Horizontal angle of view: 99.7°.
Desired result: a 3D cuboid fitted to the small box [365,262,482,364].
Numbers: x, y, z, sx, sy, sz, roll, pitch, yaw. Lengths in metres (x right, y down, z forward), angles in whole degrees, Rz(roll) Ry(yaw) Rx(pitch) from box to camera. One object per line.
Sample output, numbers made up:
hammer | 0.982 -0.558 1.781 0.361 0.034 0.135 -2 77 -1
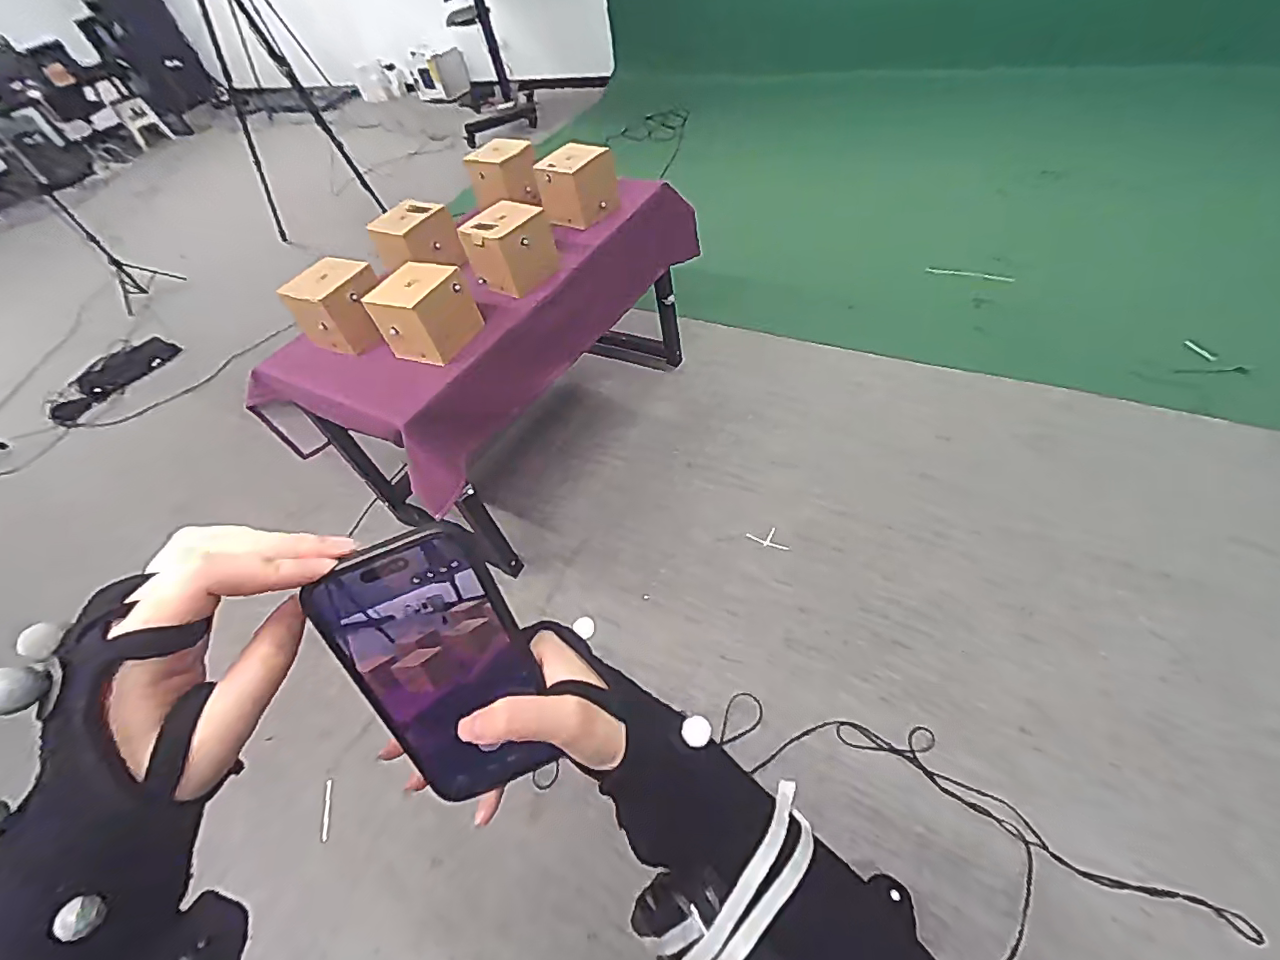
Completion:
small box | -0.516 -0.405 1.317 0.168 0.176 0.179 14 54 23

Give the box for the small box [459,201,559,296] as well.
small box | -0.345 -0.624 1.462 0.168 0.176 0.179 26 59 29

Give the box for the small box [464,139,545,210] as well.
small box | -0.443 -1.007 1.799 0.179 0.176 0.168 24 60 27

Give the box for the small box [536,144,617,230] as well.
small box | -0.186 -0.898 1.656 0.168 0.176 0.179 27 60 30
